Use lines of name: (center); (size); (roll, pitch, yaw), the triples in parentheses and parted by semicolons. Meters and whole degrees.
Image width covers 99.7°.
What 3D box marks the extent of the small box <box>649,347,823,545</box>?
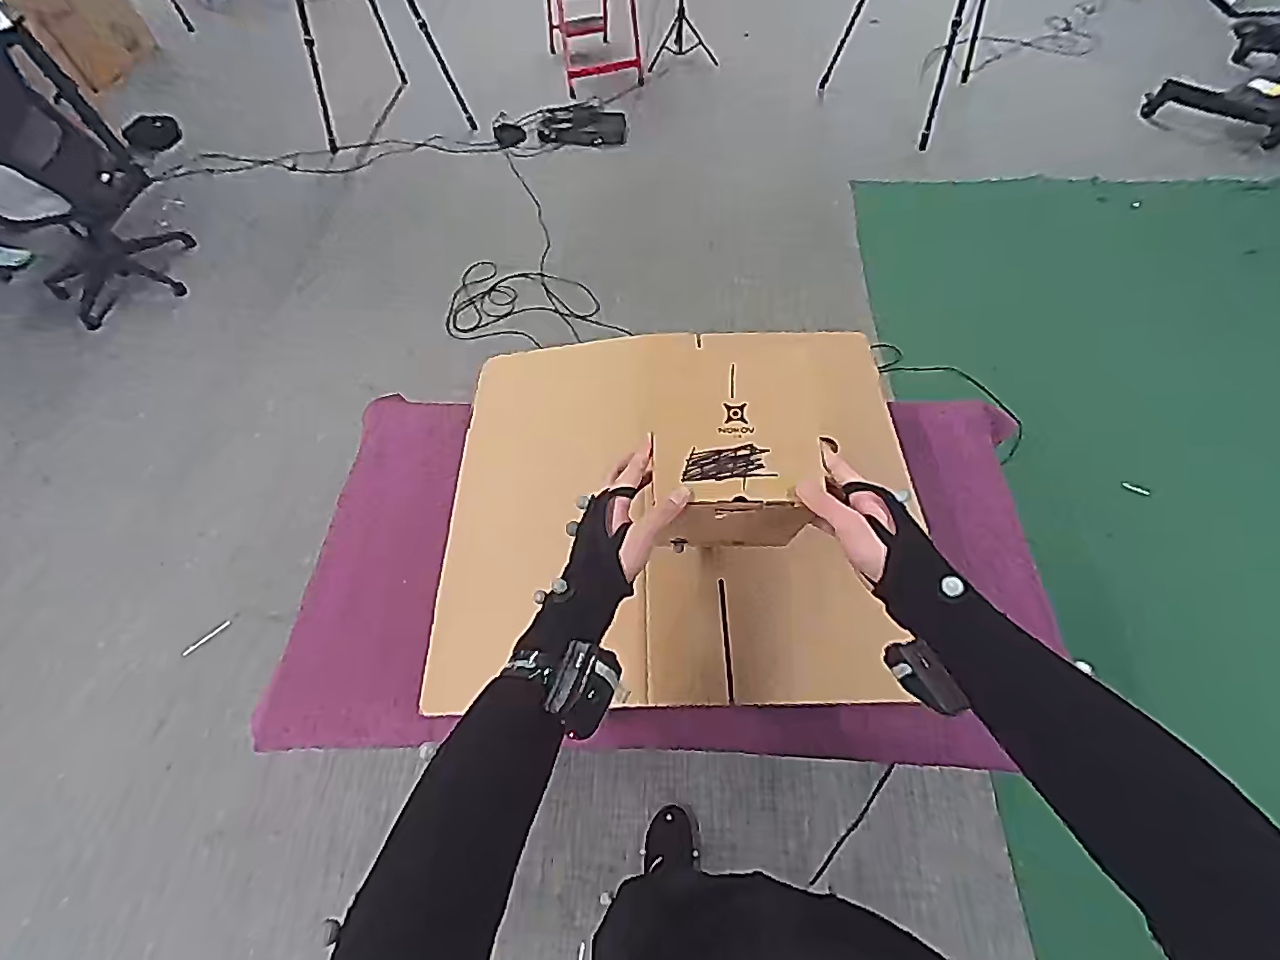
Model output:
small box: (0.094, -0.029, 0.610); (0.168, 0.176, 0.179); (1, 67, 1)
